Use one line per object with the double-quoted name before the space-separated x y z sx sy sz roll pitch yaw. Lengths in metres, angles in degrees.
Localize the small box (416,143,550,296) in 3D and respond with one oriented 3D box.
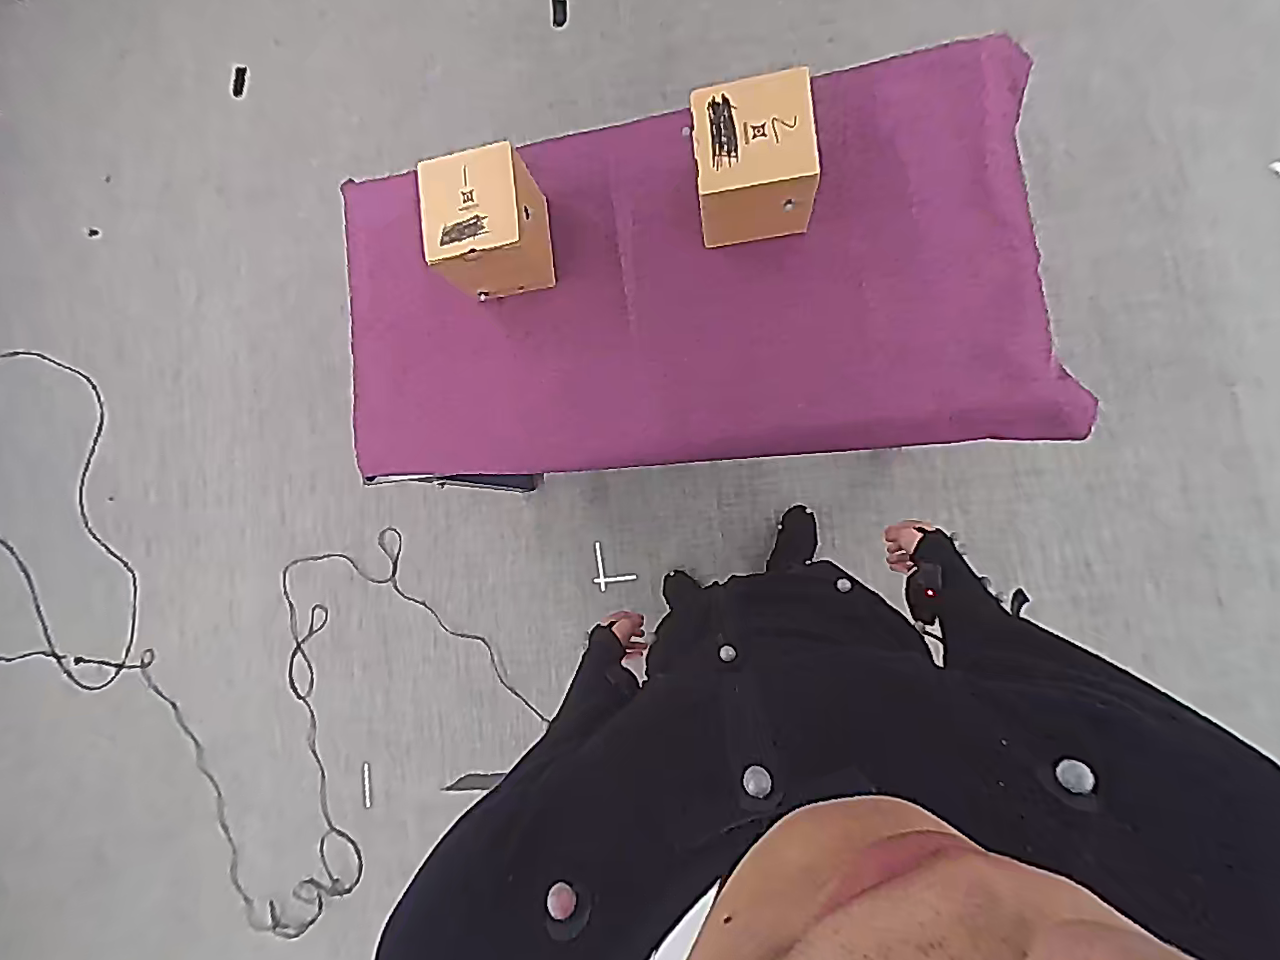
"small box" -0.266 -0.440 0.948 0.168 0.176 0.179 -8 85 9
